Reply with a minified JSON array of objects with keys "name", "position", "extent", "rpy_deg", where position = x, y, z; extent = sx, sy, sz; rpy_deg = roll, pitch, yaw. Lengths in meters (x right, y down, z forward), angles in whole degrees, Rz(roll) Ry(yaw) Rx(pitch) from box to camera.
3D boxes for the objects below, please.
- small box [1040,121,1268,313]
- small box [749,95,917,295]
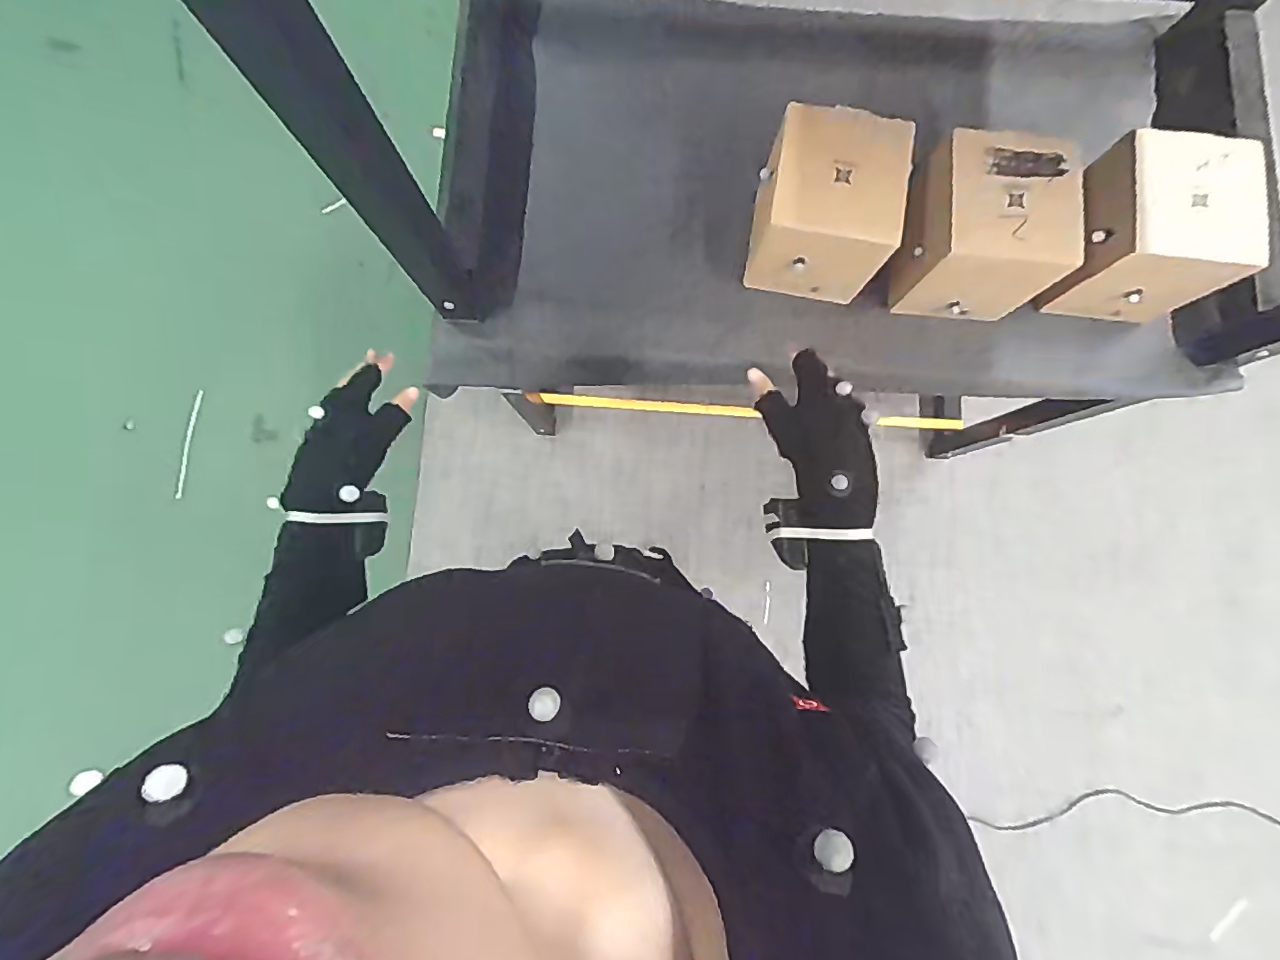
[{"name":"small box","position":[0.697,-0.352,0.754],"extent":[0.168,0.176,0.179],"rpy_deg":[7,82,0]},{"name":"small box","position":[0.257,-0.383,0.757],"extent":[0.168,0.176,0.179],"rpy_deg":[10,83,1]}]
